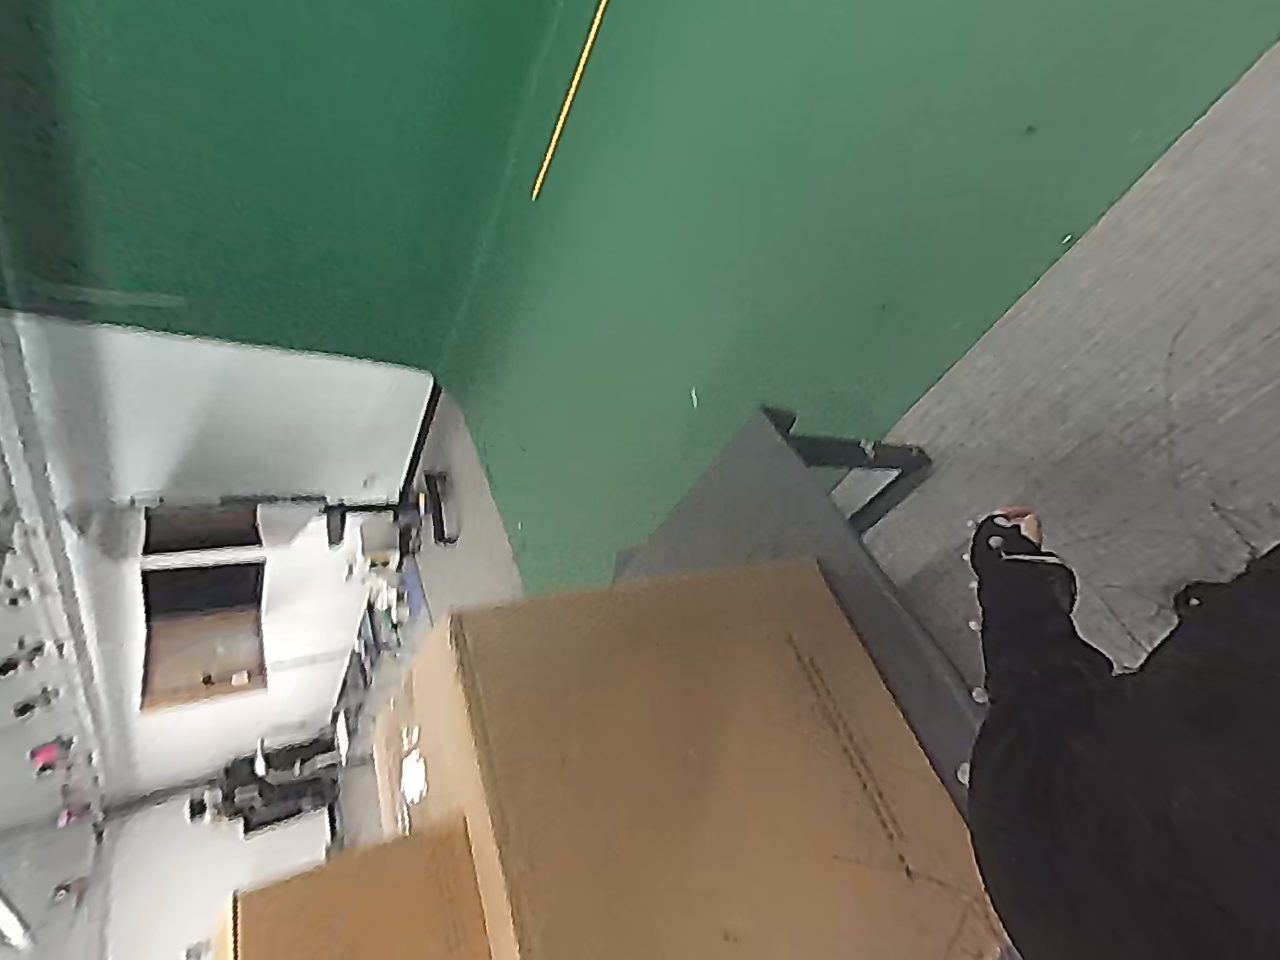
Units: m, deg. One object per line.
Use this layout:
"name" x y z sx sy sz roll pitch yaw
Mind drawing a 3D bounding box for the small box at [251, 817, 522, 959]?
"small box" -0.209 0.407 0.447 0.168 0.176 0.179 -47 55 38
